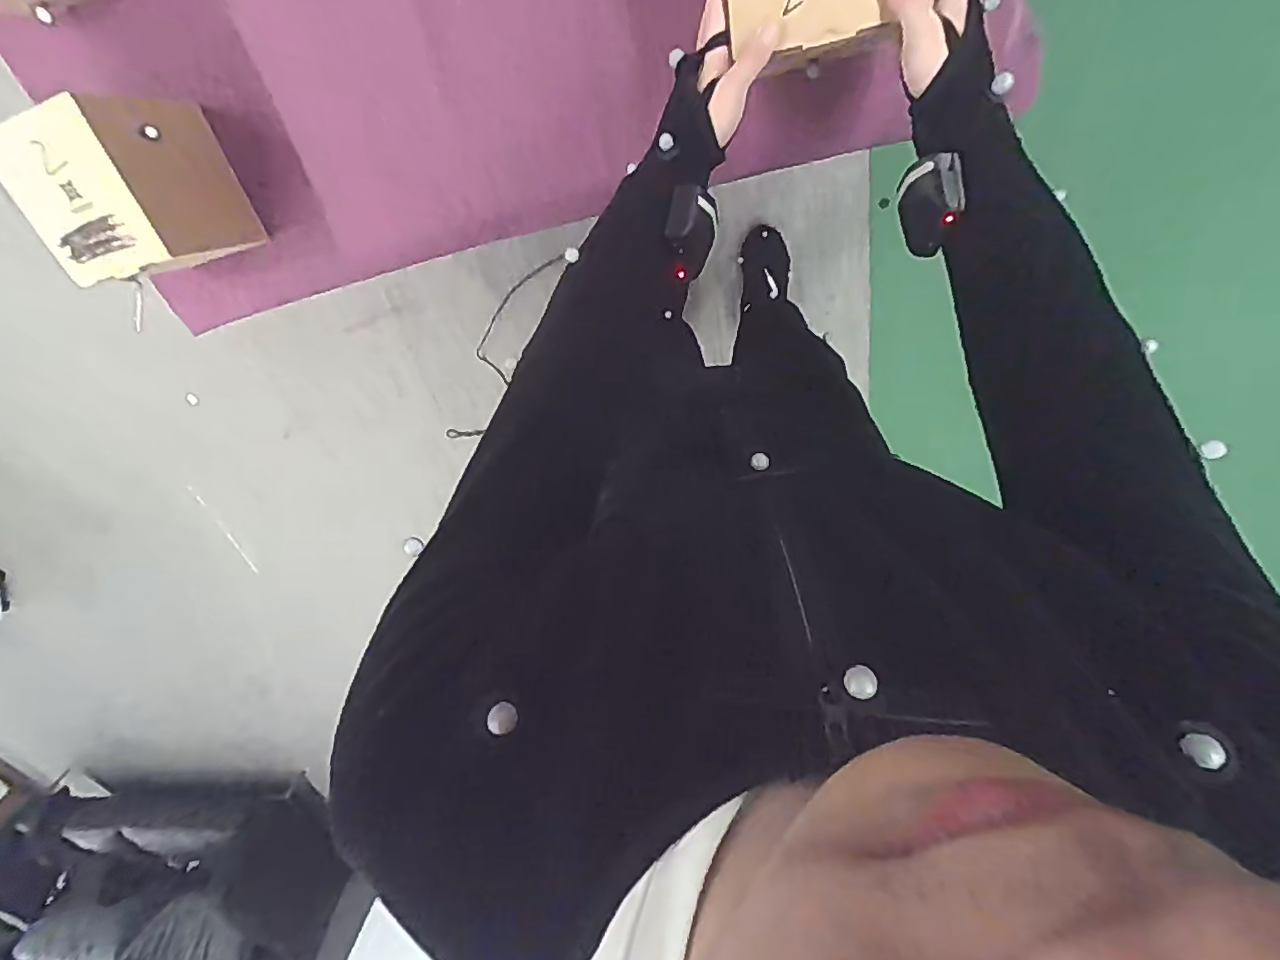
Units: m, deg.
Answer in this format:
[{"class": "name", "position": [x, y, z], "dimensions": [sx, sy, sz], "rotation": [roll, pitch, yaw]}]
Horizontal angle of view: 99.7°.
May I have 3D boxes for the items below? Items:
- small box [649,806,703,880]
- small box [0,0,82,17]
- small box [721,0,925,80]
[{"class": "small box", "position": [0.141, 1.372, 2.046], "dimensions": [0.168, 0.176, 0.179], "rotation": [-5, 120, 14]}, {"class": "small box", "position": [-0.715, -0.625, 0.567], "dimensions": [0.168, 0.176, 0.179], "rotation": [-10, 120, 16]}, {"class": "small box", "position": [0.154, -0.493, 0.490], "dimensions": [0.168, 0.176, 0.179], "rotation": [-4, 121, 15]}]
